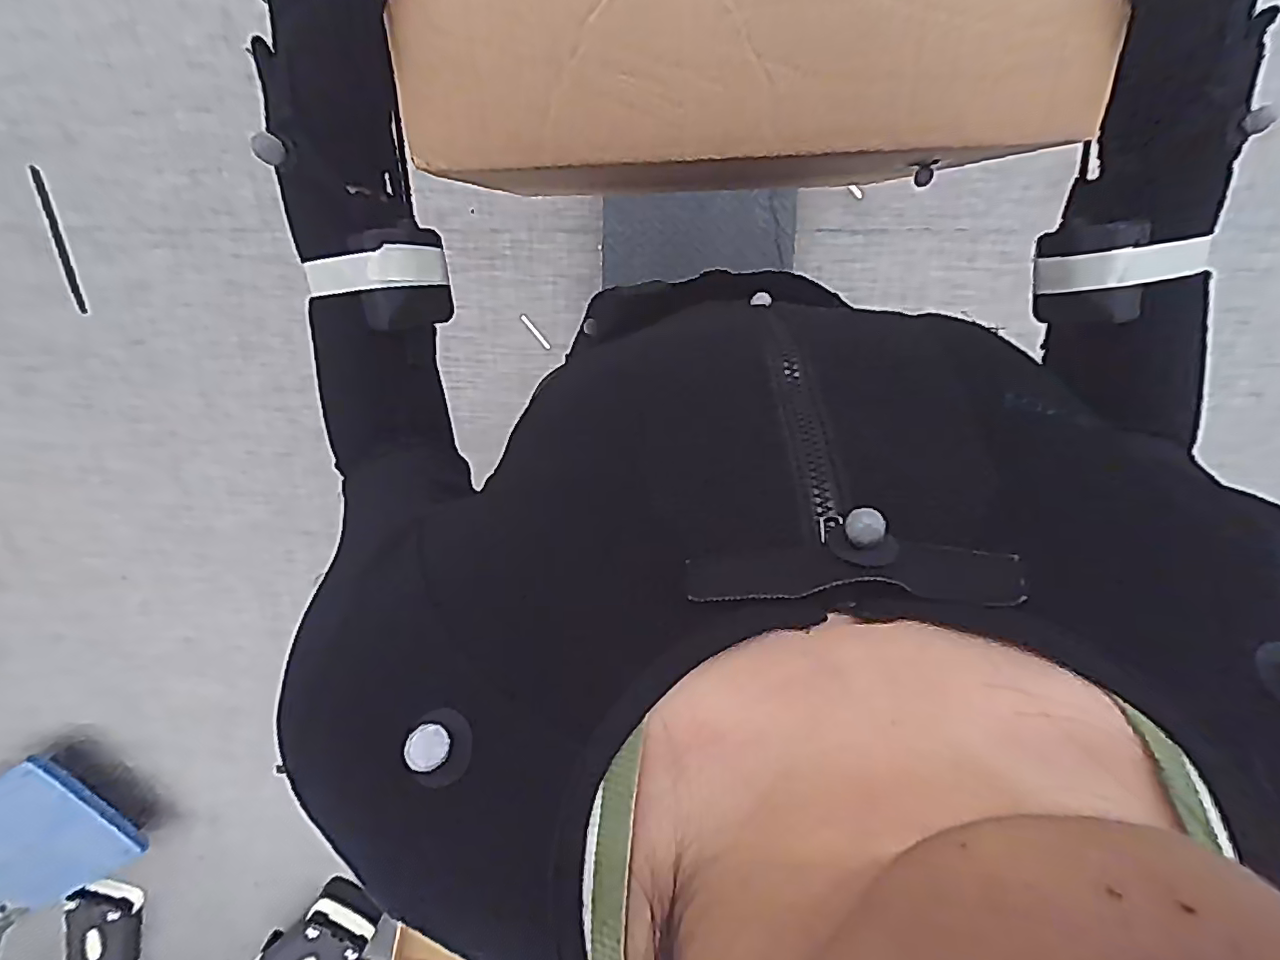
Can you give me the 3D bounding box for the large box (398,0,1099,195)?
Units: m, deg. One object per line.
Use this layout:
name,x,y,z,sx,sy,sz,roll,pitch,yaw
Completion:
large box,0.059,-0.403,0.406,0.408,0.320,0.320,-2,115,1
